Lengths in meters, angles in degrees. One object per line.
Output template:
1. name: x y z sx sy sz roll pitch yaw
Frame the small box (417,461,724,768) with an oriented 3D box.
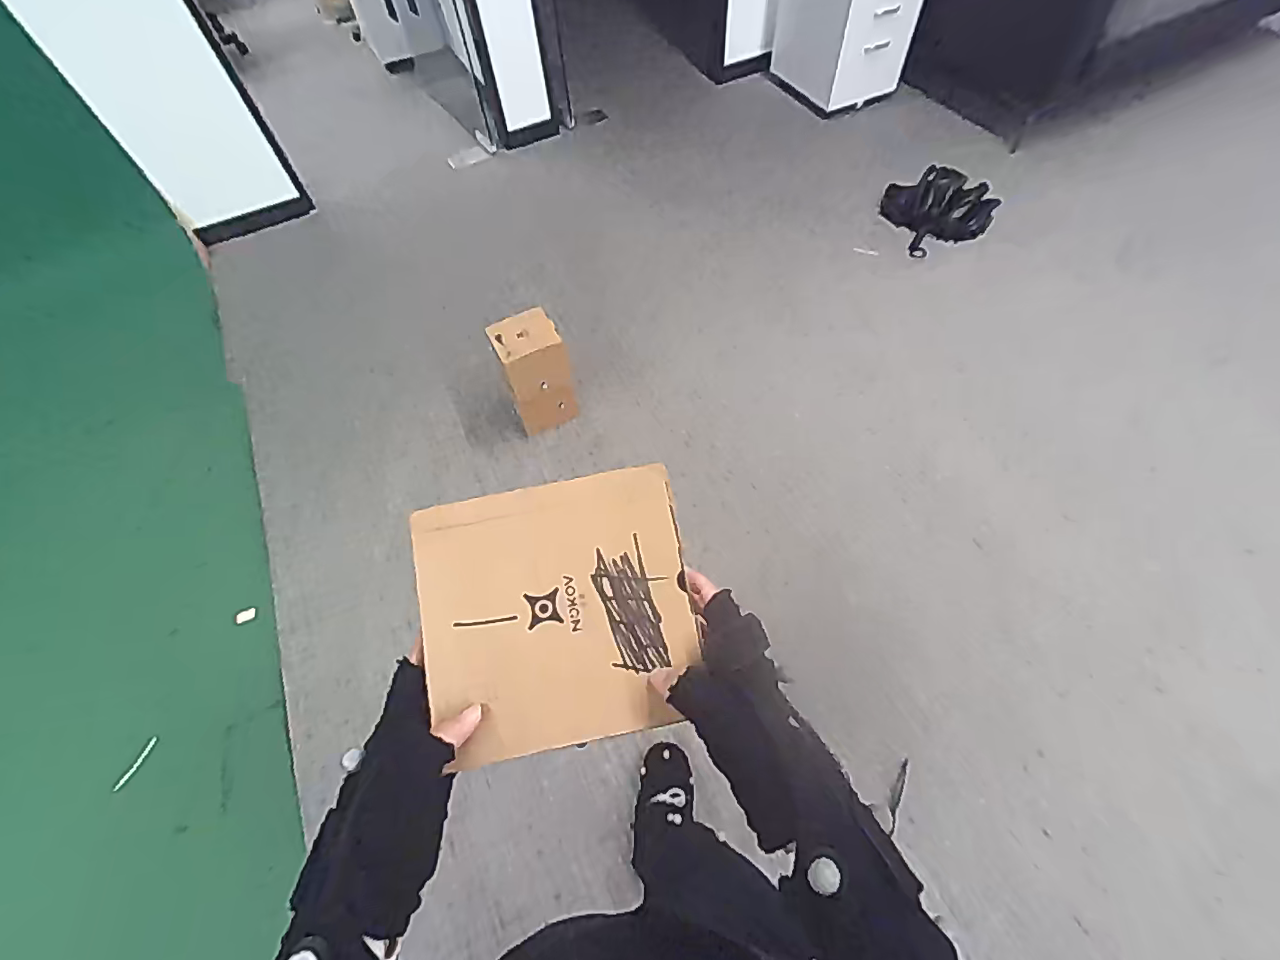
1. small box: -0.051 0.099 0.433 0.179 0.176 0.168 -14 78 -5

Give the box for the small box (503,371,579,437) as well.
1. small box: -0.305 -0.270 1.708 0.179 0.176 0.168 -26 59 -10

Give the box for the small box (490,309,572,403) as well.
1. small box: -0.309 -0.355 1.568 0.179 0.176 0.168 -25 60 -11
